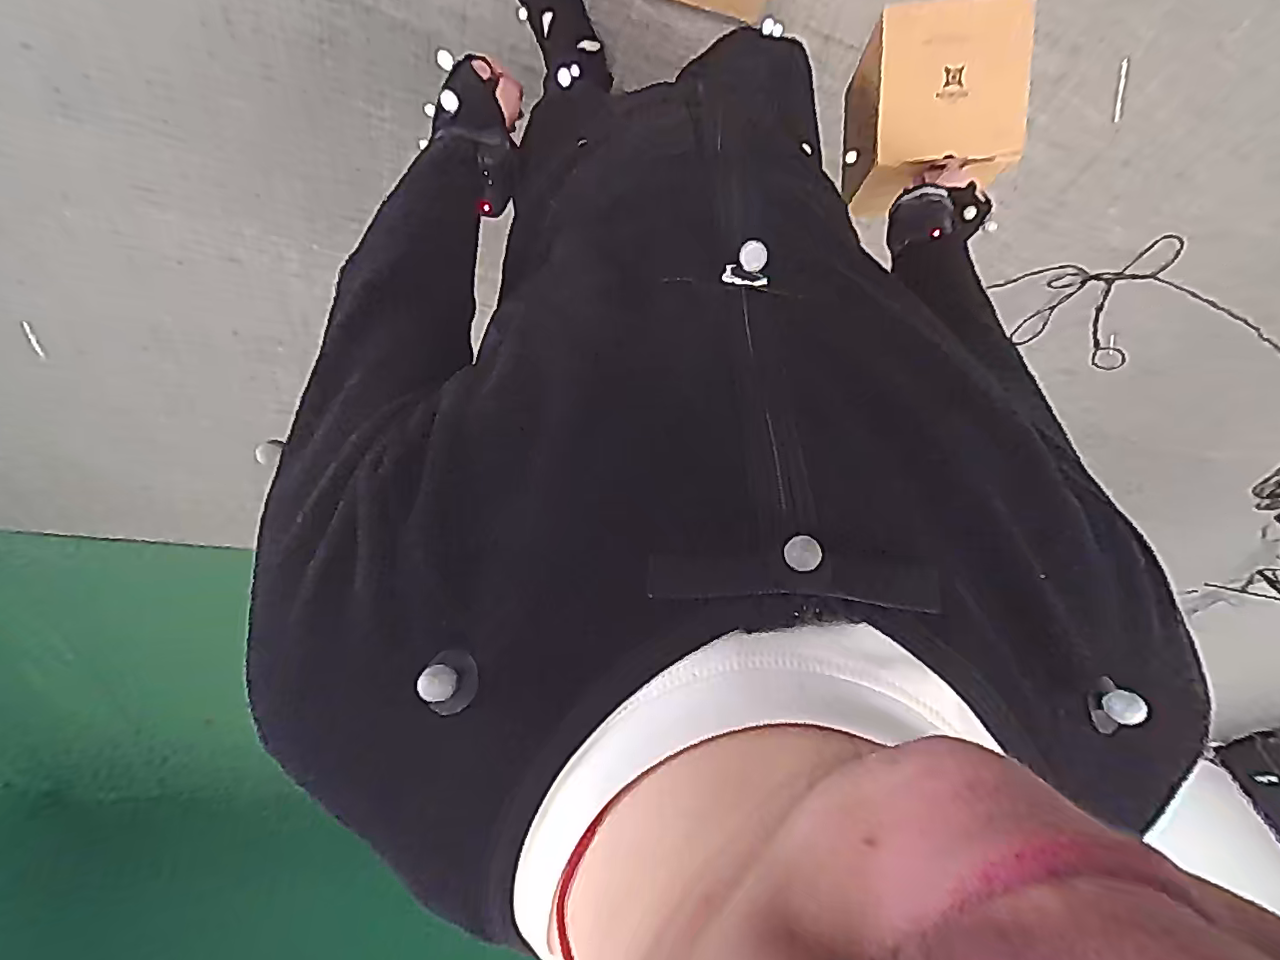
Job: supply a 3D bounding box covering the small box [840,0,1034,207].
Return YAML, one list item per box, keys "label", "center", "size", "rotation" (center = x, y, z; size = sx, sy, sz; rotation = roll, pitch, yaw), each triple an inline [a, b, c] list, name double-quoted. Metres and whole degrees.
- label: "small box"
  center: [0.363, -0.467, 0.694]
  size: [0.168, 0.176, 0.179]
  rotation: [0, 95, 6]
